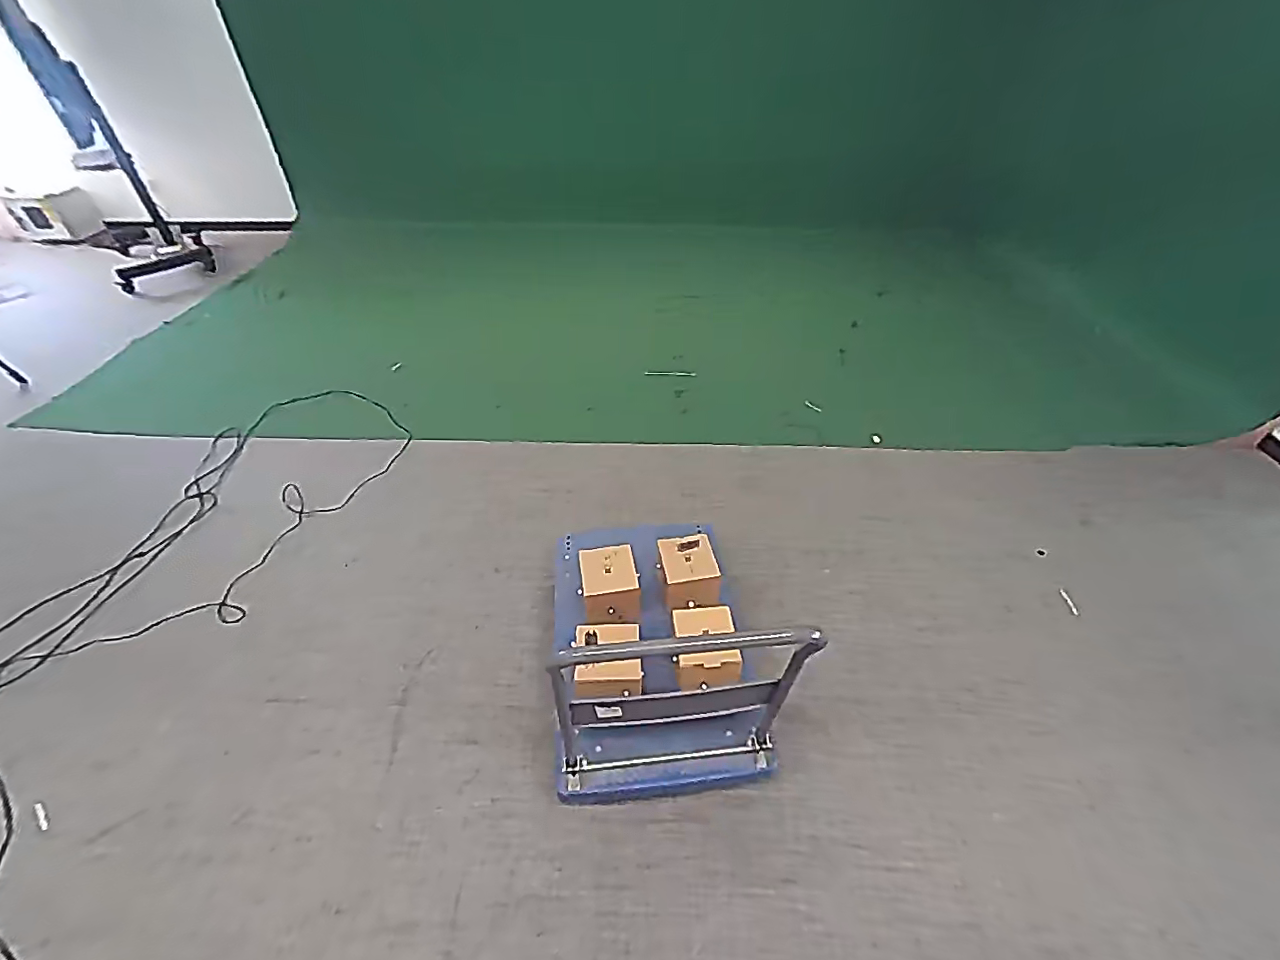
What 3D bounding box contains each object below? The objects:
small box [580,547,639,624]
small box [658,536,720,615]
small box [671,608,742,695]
[{"bbox_3d":[-0.095,0.341,1.716,0.168,0.176,0.179,-6,43,-8],"label":"small box"},{"bbox_3d":[0.152,0.310,1.750,0.168,0.176,0.179,-7,44,-7],"label":"small box"},{"bbox_3d":[0.183,0.493,1.553,0.168,0.176,0.179,-4,43,-4],"label":"small box"}]
